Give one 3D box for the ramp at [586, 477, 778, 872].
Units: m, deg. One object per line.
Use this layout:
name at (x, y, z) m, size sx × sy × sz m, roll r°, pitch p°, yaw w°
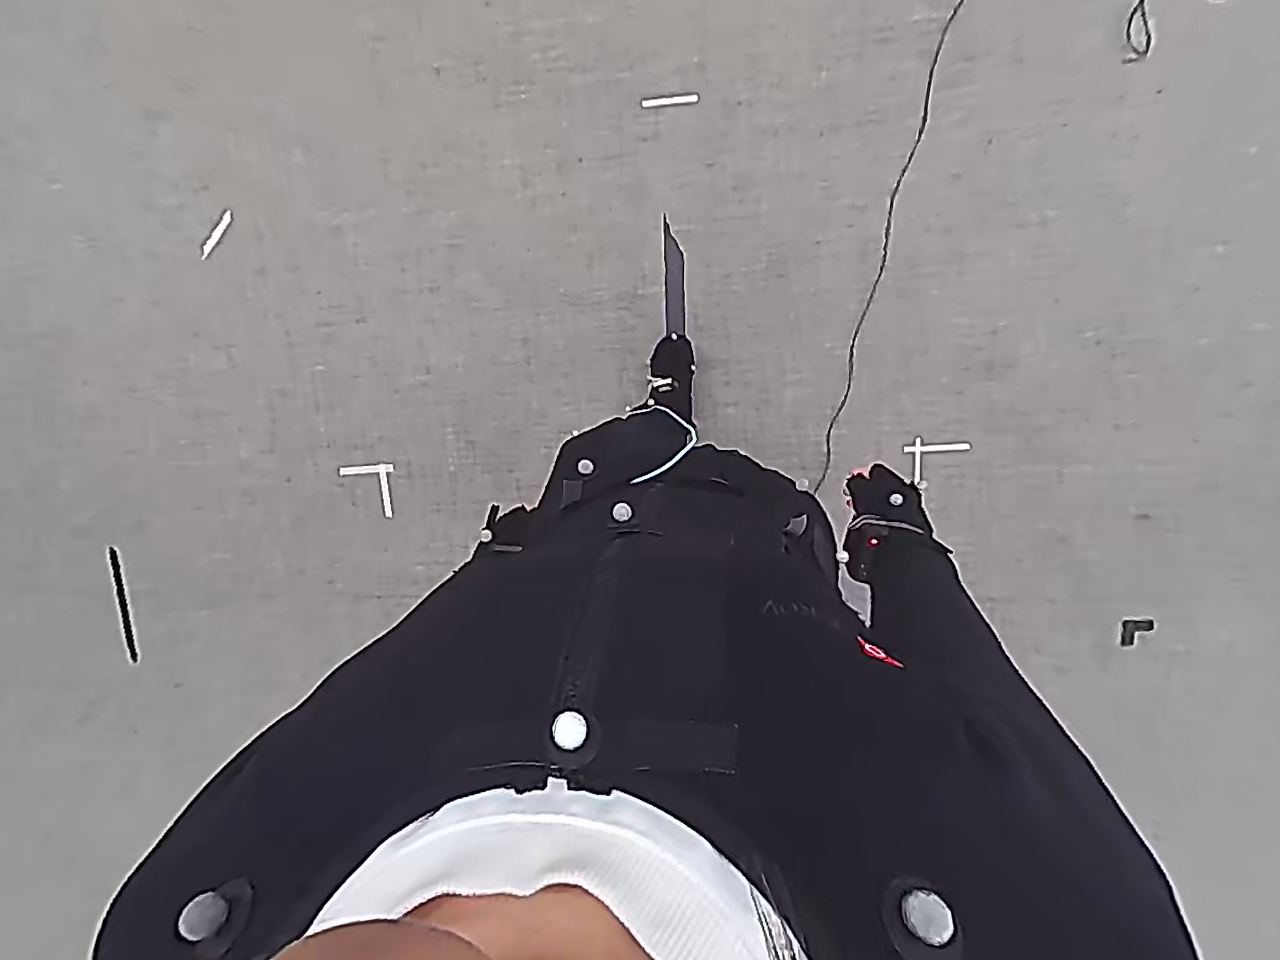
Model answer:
ramp at (0.107, 0.493, 1.430) m, size 0.509 × 0.206 × 0.991 m, roll 0°, pitch 97°, yaw 10°
